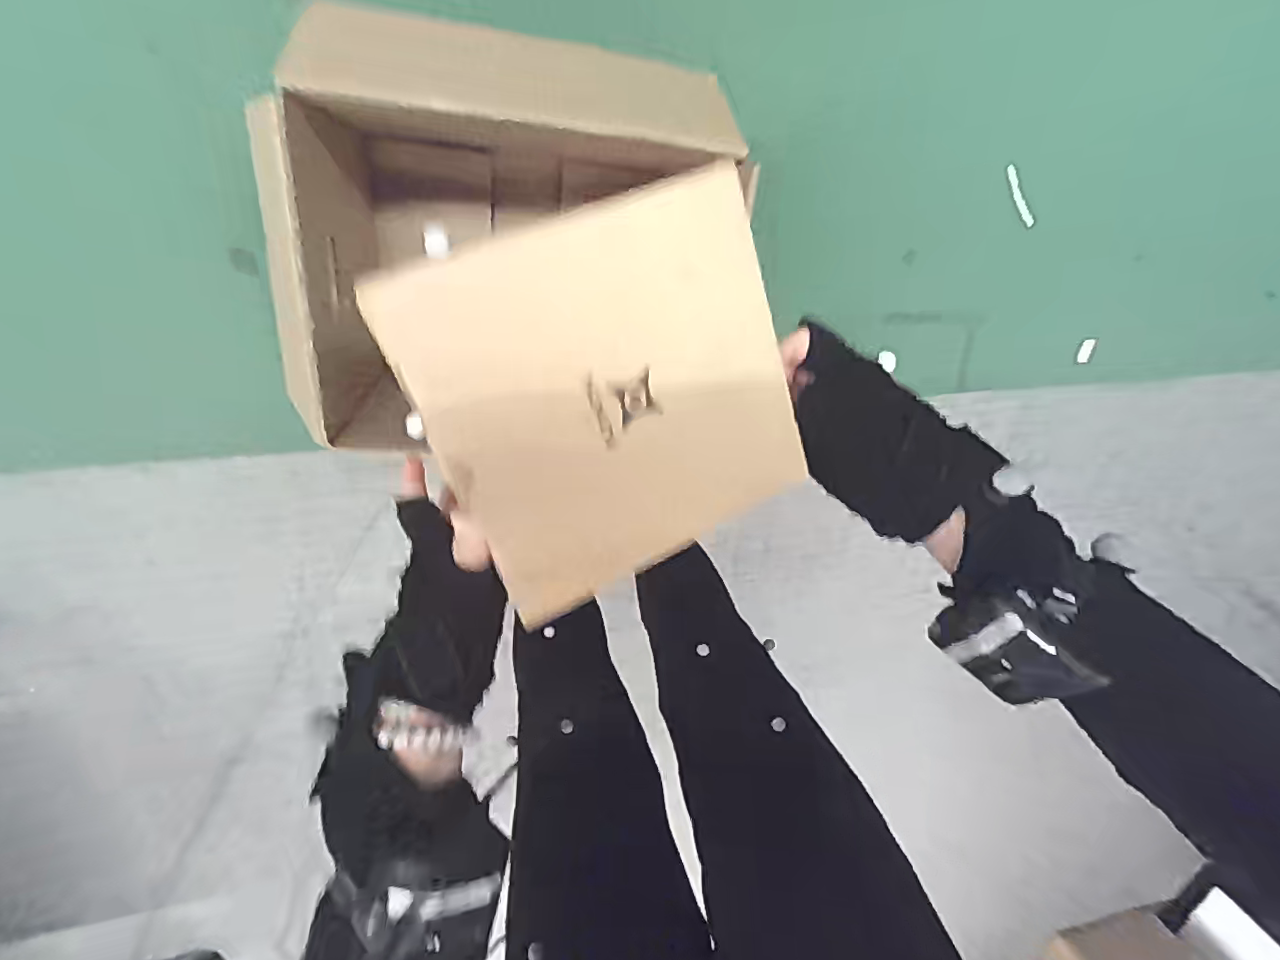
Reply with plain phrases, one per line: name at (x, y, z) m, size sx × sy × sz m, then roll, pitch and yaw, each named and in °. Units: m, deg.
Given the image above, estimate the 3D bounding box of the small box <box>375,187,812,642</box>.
small box at (-0.033, -0.047, 0.323) m, size 0.179 × 0.176 × 0.168 m, roll -27°, pitch 112°, yaw -15°
